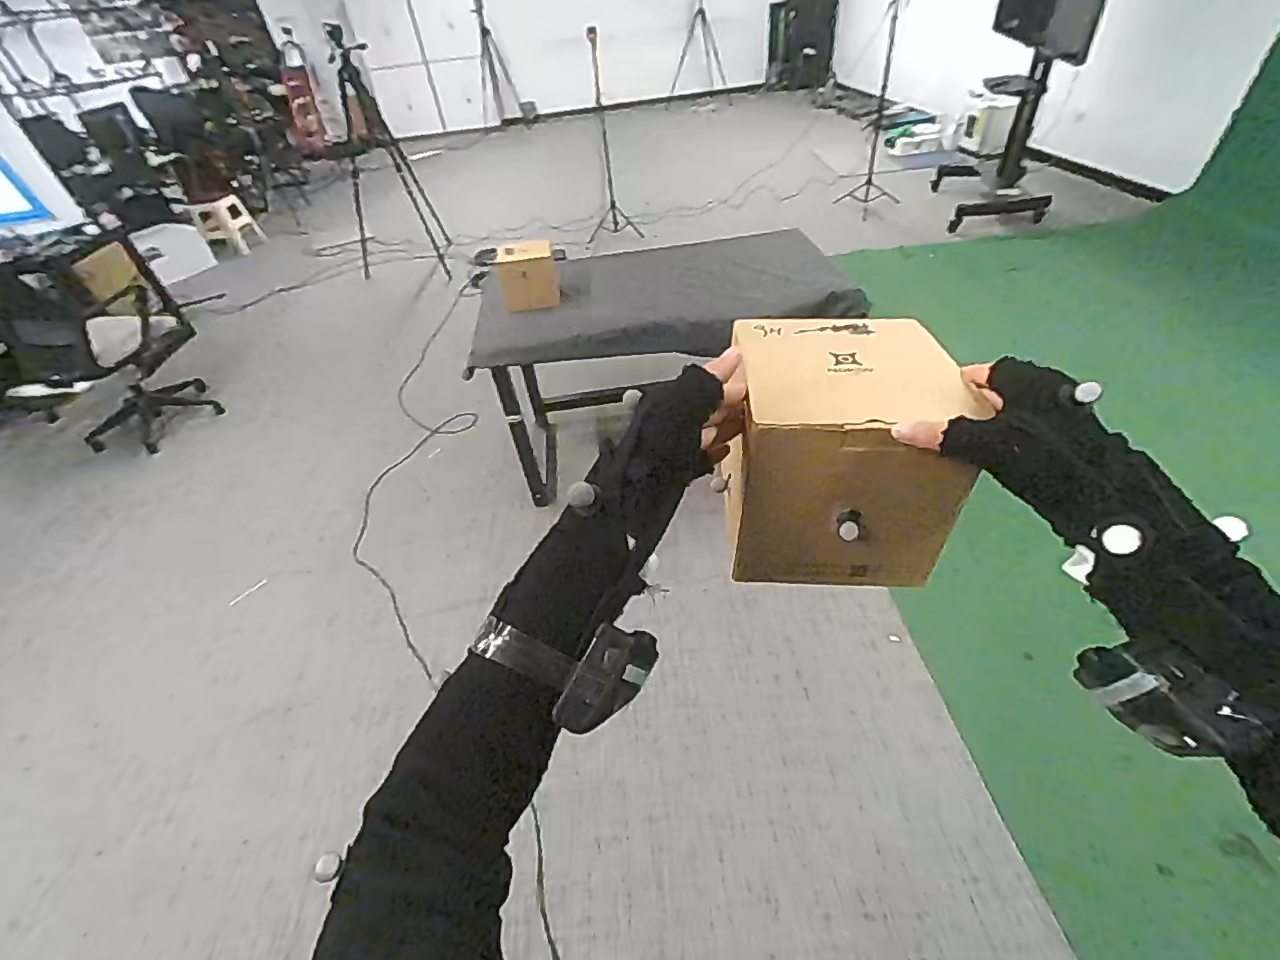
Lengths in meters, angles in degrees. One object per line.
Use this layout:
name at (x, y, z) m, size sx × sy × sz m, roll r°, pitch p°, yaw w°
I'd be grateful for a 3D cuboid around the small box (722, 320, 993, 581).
small box at (0.164, -0.026, 0.480) m, size 0.168 × 0.176 × 0.179 m, roll 1°, pitch 41°, yaw 3°

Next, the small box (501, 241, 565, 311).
small box at (-0.354, -0.682, 1.813) m, size 0.179 × 0.176 × 0.168 m, roll -8°, pitch 42°, yaw -3°
